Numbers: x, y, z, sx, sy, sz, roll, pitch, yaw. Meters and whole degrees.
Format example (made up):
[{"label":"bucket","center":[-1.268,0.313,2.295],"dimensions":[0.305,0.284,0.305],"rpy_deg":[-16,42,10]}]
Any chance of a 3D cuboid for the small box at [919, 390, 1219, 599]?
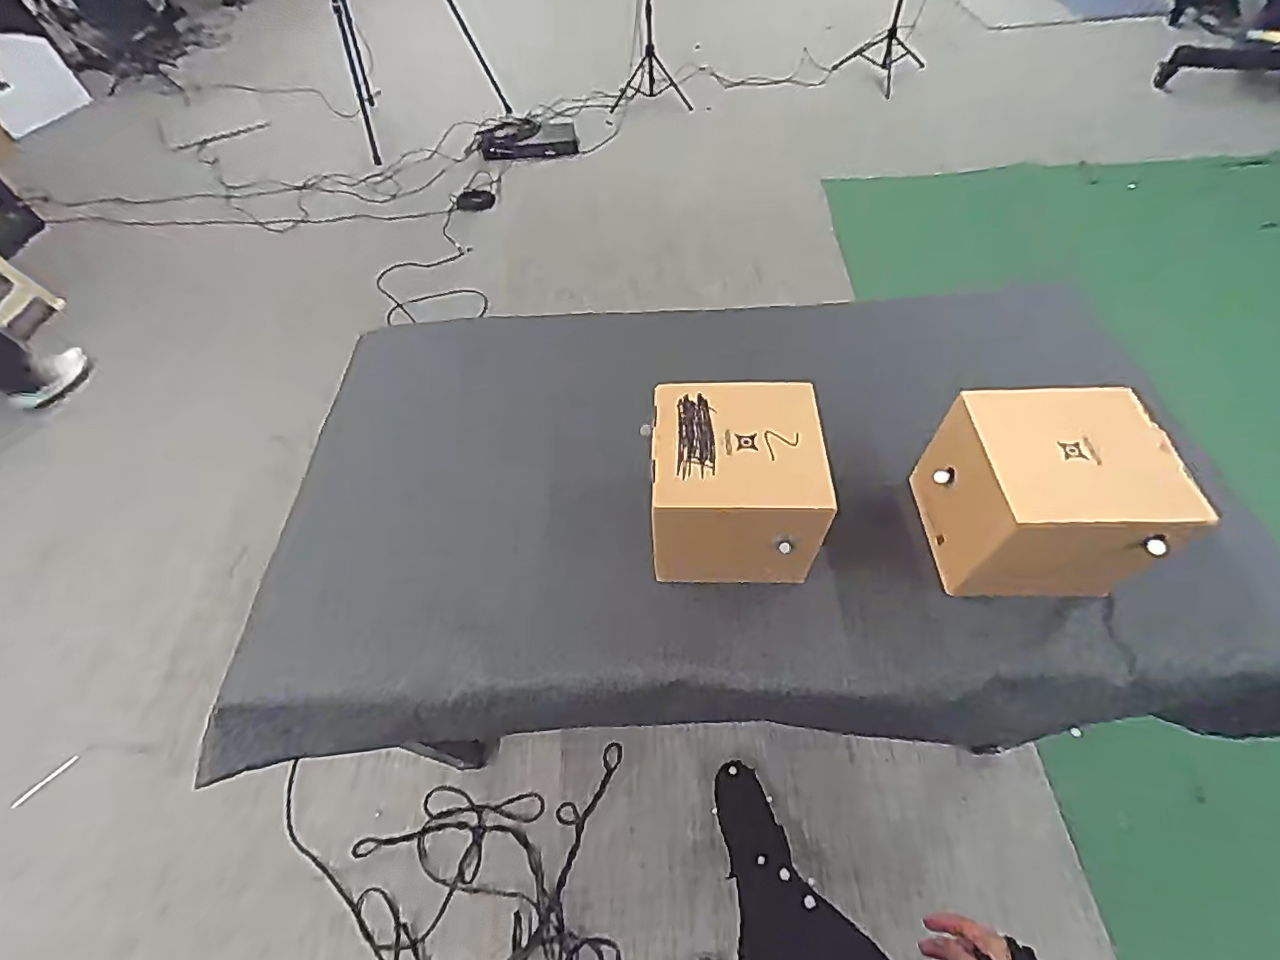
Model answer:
[{"label":"small box","center":[0.428,0.022,0.587],"dimensions":[0.179,0.176,0.168],"rpy_deg":[-1,55,3]}]
